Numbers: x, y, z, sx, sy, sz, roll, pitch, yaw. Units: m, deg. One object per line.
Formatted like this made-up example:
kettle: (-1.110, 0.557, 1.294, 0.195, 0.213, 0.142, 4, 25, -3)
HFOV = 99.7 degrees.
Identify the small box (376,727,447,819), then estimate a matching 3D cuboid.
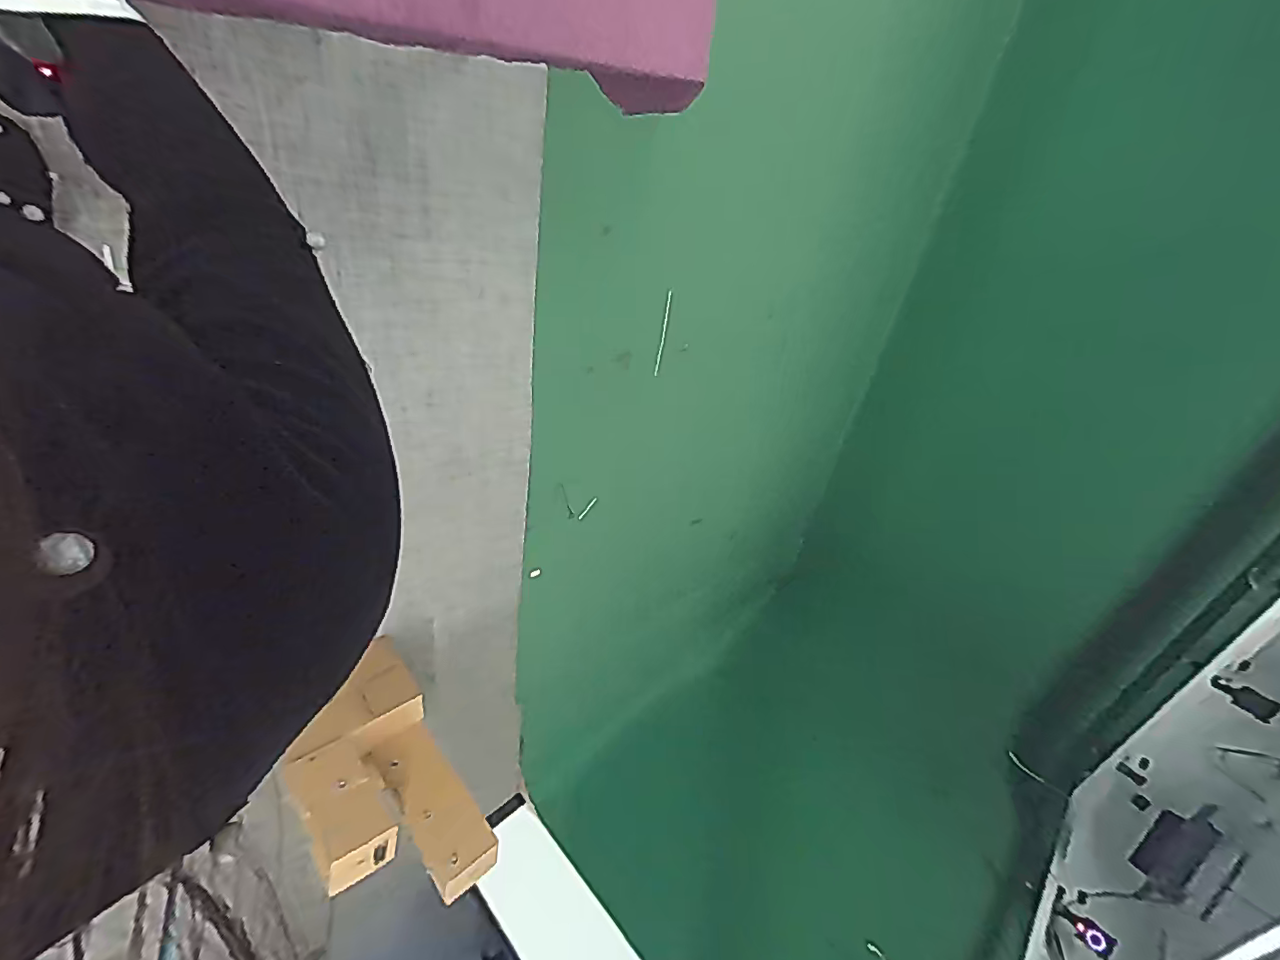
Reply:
small box: (-0.771, 0.984, 1.825, 0.179, 0.176, 0.168, -25, 138, -39)

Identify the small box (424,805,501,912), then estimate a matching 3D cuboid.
small box: (-0.548, 1.152, 1.654, 0.179, 0.176, 0.168, -22, 137, -41)

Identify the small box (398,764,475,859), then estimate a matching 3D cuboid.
small box: (-0.655, 1.063, 1.745, 0.179, 0.176, 0.168, -22, 137, -39)

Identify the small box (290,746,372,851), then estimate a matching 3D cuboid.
small box: (-0.911, 0.933, 1.596, 0.168, 0.176, 0.179, -18, 132, -43)
